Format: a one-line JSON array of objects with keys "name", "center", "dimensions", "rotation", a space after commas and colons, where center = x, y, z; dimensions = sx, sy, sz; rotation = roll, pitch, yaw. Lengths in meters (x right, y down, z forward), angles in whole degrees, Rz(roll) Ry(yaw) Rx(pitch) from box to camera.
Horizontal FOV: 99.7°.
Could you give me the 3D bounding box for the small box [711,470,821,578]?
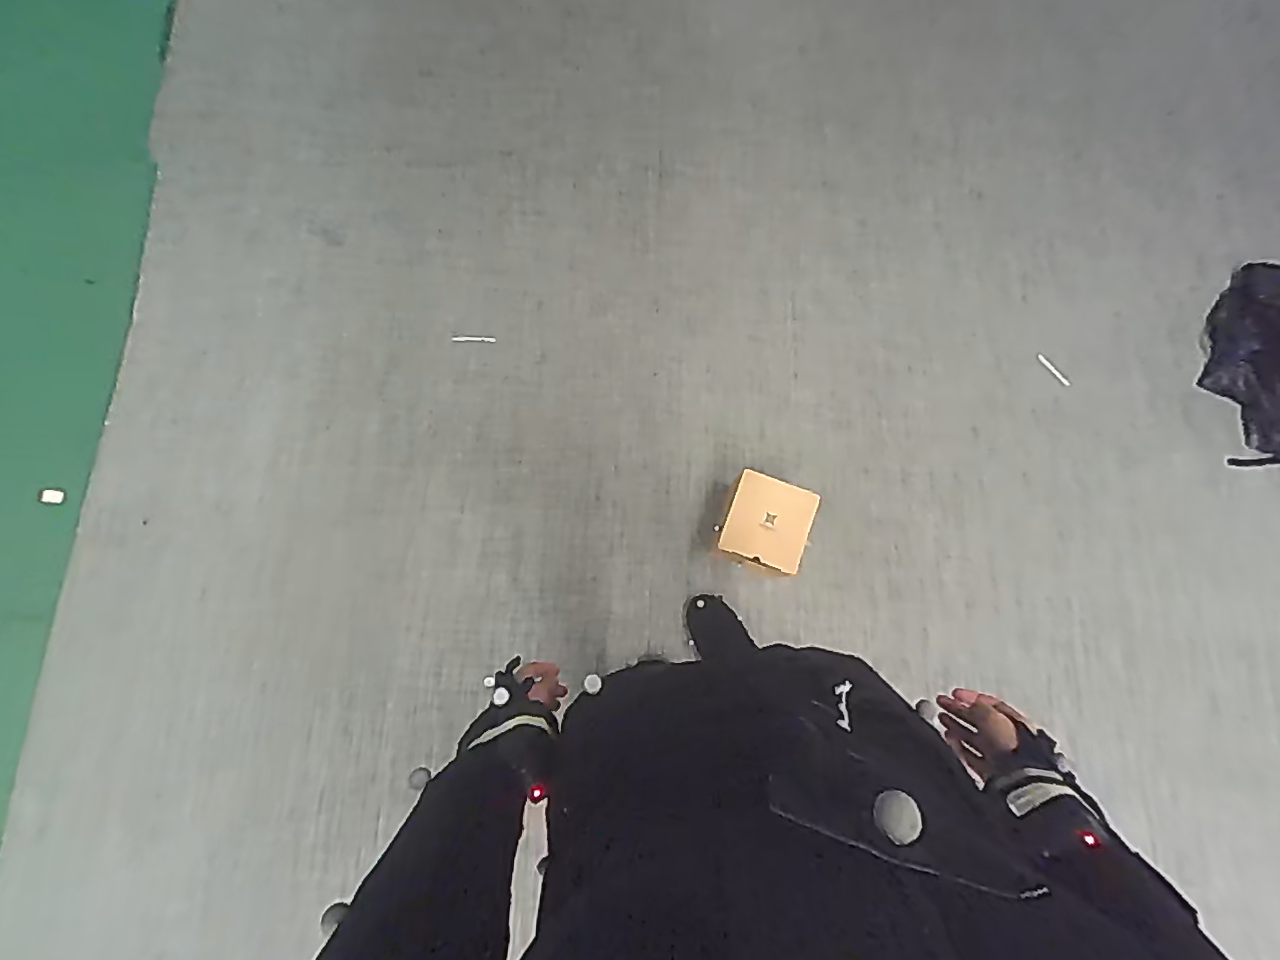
[{"name": "small box", "center": [0.261, 0.100, 1.160], "dimensions": [0.168, 0.176, 0.179], "rotation": [20, 80, 4]}]
